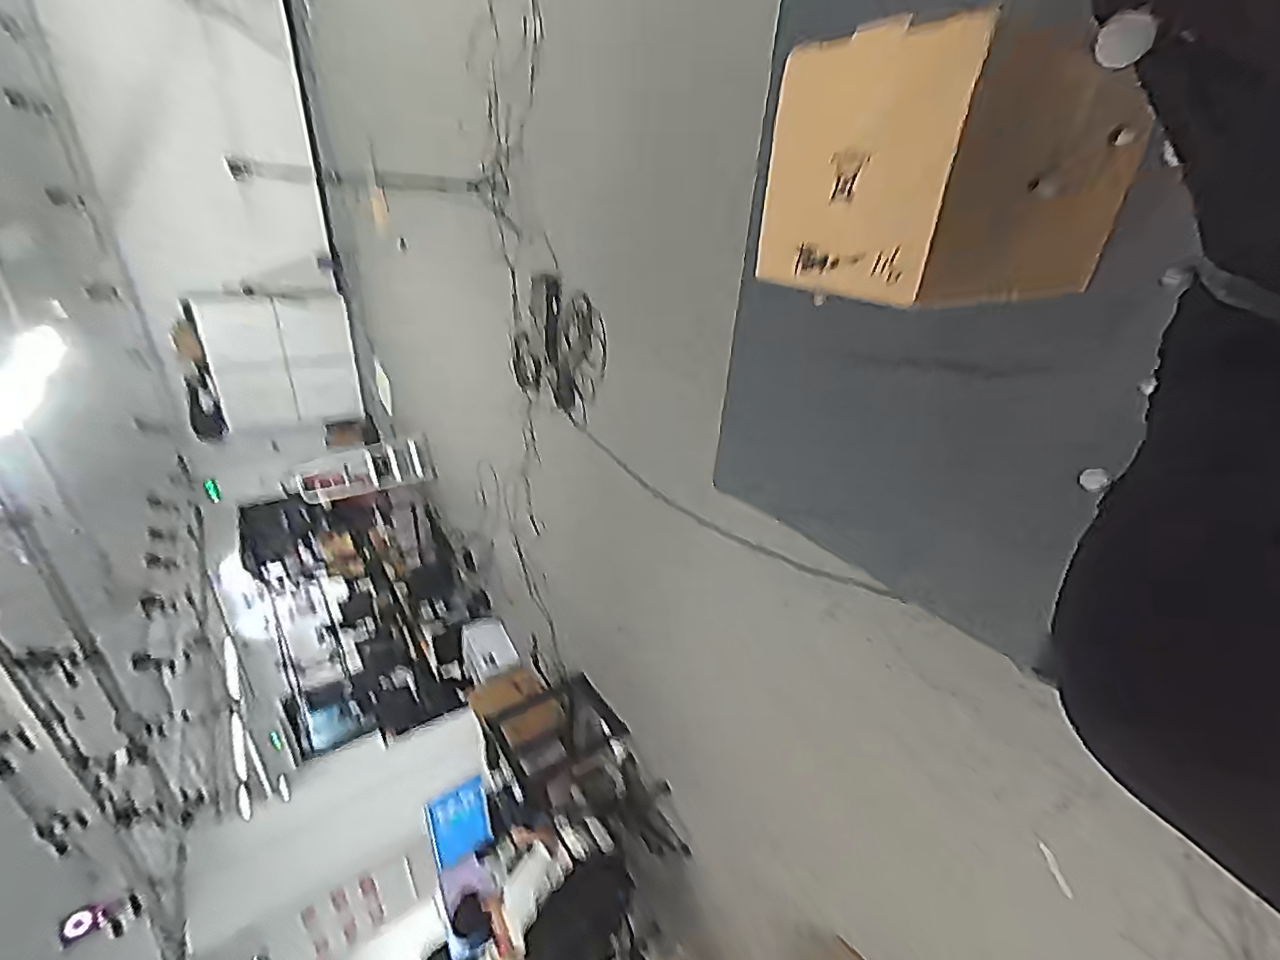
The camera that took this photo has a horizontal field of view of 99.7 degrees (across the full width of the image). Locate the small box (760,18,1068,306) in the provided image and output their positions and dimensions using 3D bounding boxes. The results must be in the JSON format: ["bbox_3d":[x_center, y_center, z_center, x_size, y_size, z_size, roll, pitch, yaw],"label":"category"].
[{"bbox_3d":[0.232,-0.256,0.472,0.168,0.176,0.179,31,128,47],"label":"small box"}]

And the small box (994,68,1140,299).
[{"bbox_3d":[0.365,-0.292,0.557,0.168,0.176,0.179,34,131,47],"label":"small box"}]
